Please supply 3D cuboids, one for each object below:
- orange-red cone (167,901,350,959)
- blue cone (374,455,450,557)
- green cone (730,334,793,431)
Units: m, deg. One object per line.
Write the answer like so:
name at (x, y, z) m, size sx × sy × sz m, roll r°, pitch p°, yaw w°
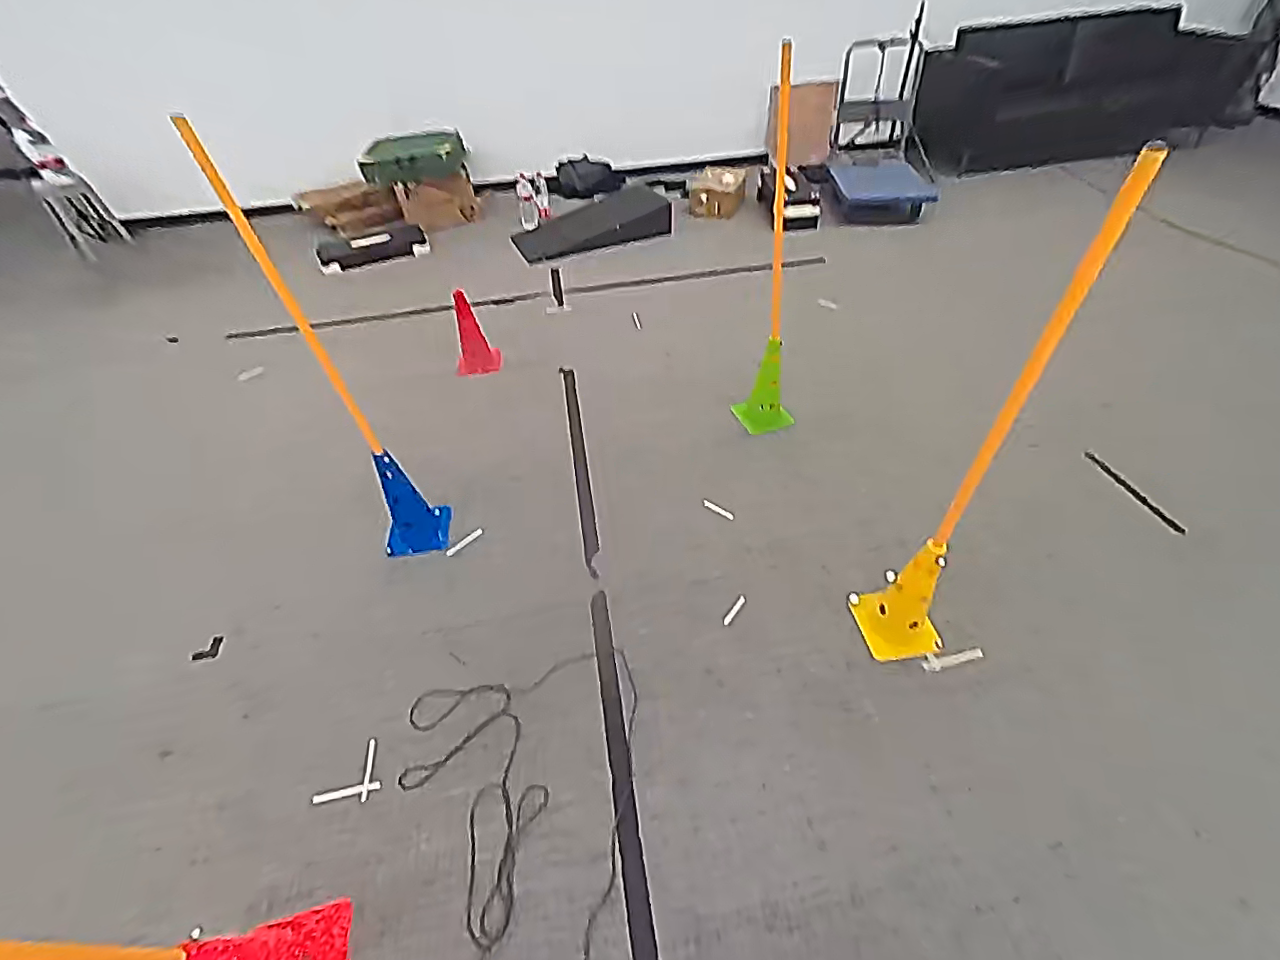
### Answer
orange-red cone at (-0.671, 0.829, 0.916) m, size 0.199 × 0.360 × 0.198 m, roll -12°, pitch 46°, yaw -10°
blue cone at (-0.752, 0.061, 1.715) m, size 0.193 × 0.380 × 0.192 m, roll -7°, pitch 45°, yaw -3°
green cone at (0.484, -0.395, 2.071) m, size 0.200 × 0.368 × 0.202 m, roll -17°, pitch 48°, yaw -13°
